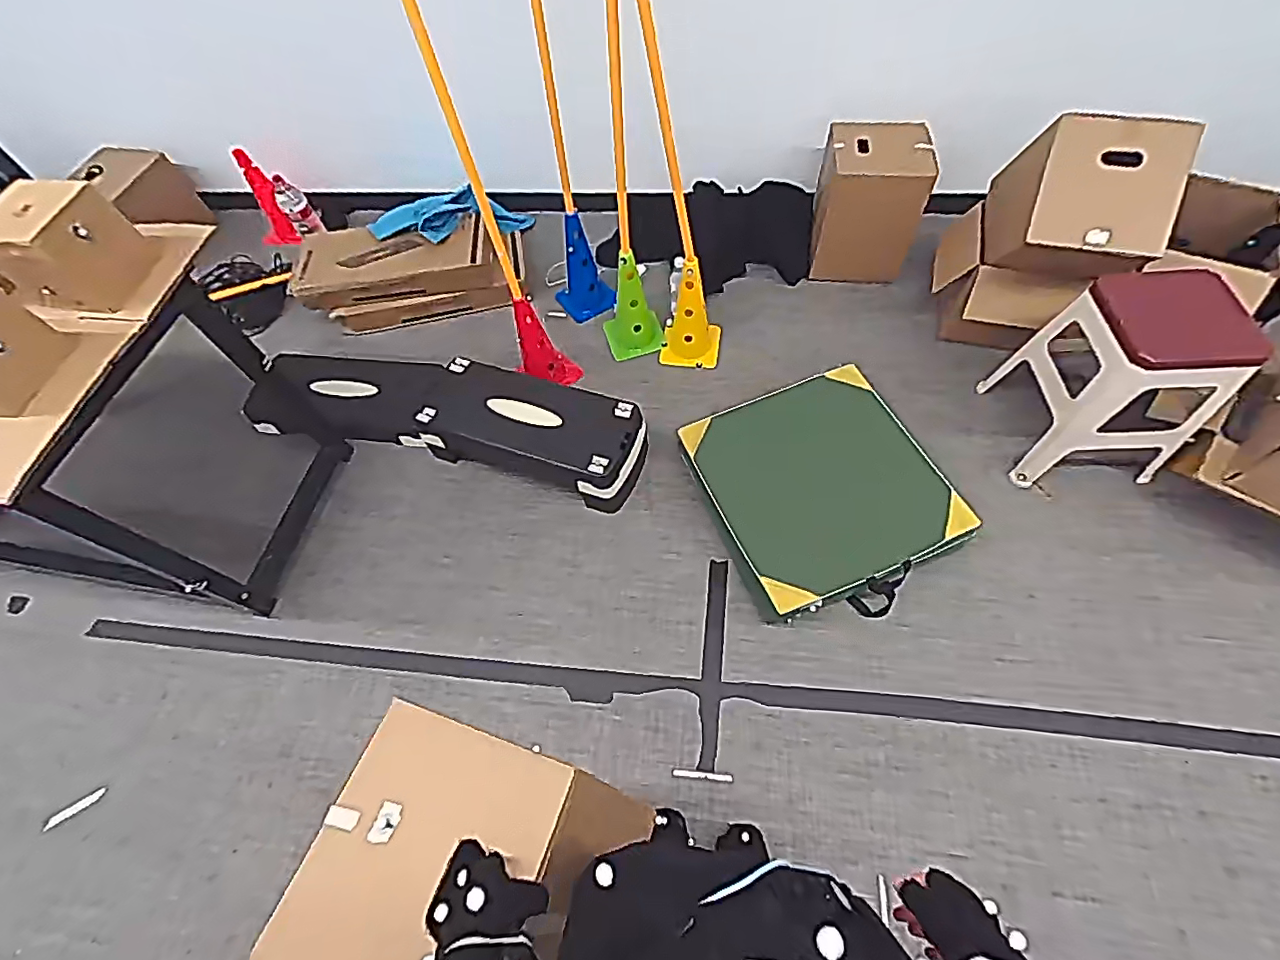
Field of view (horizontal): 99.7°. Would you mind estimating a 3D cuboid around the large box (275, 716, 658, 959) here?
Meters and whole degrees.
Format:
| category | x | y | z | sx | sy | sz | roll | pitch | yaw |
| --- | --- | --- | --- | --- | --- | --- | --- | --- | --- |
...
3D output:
| category | x | y | z | sx | sy | sz | roll | pitch | yaw |
| --- | --- | --- | --- | --- | --- | --- | --- | --- | --- |
| large box | -0.205 | 0.588 | 0.796 | 0.320 | 0.408 | 0.320 | 9 | 57 | 25 |
